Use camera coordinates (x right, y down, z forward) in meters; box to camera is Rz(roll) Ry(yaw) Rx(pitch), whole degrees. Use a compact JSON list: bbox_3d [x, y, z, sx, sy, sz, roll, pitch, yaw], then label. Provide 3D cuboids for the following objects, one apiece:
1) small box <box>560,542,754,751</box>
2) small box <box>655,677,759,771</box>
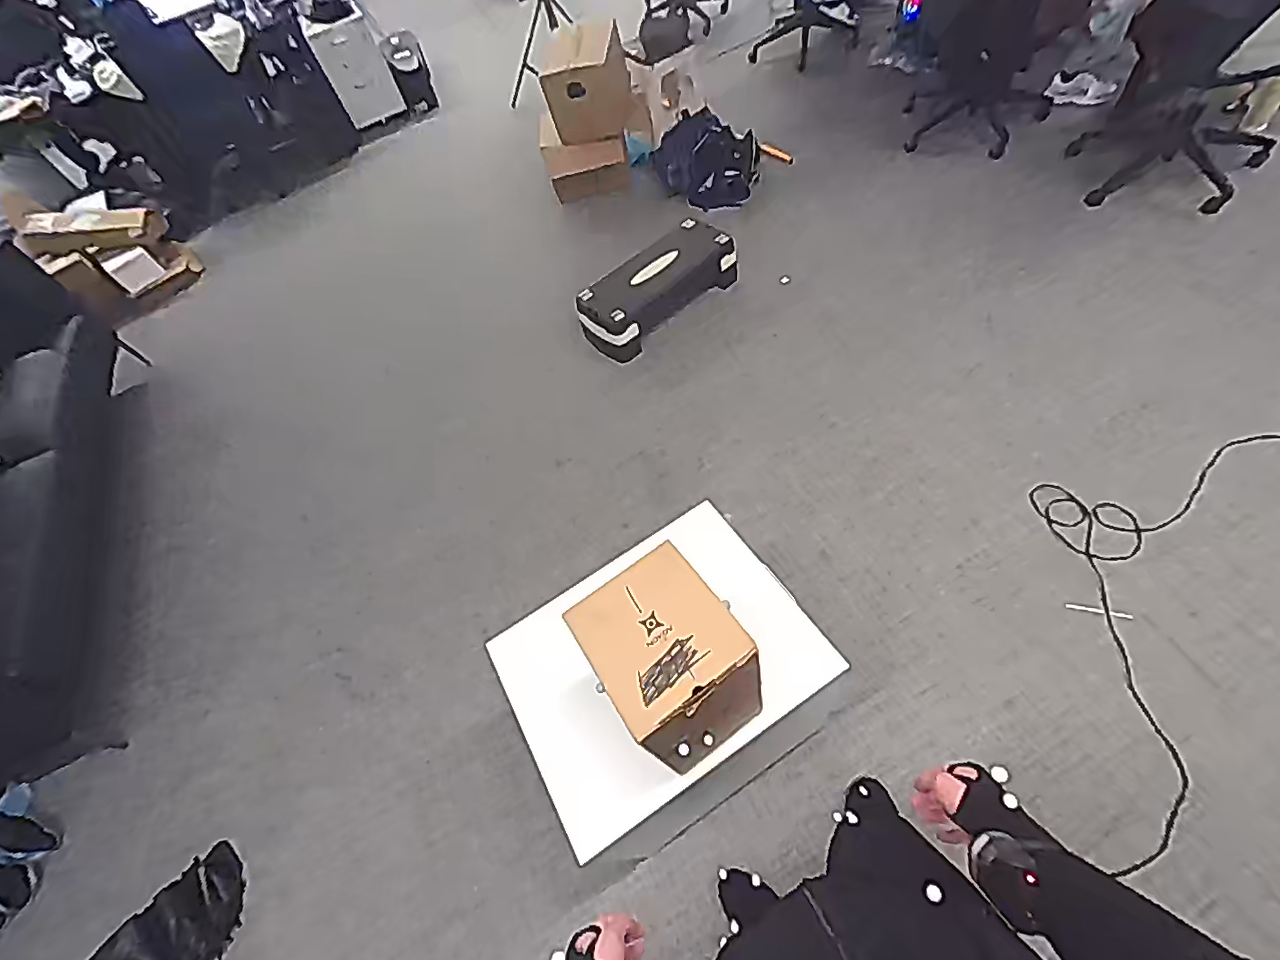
[{"bbox_3d":[0.030,0.218,0.687,0.168,0.176,0.179,-34,54,-11],"label":"small box"},{"bbox_3d":[0.062,0.309,0.821,0.168,0.176,0.179,-35,55,-10],"label":"small box"}]
